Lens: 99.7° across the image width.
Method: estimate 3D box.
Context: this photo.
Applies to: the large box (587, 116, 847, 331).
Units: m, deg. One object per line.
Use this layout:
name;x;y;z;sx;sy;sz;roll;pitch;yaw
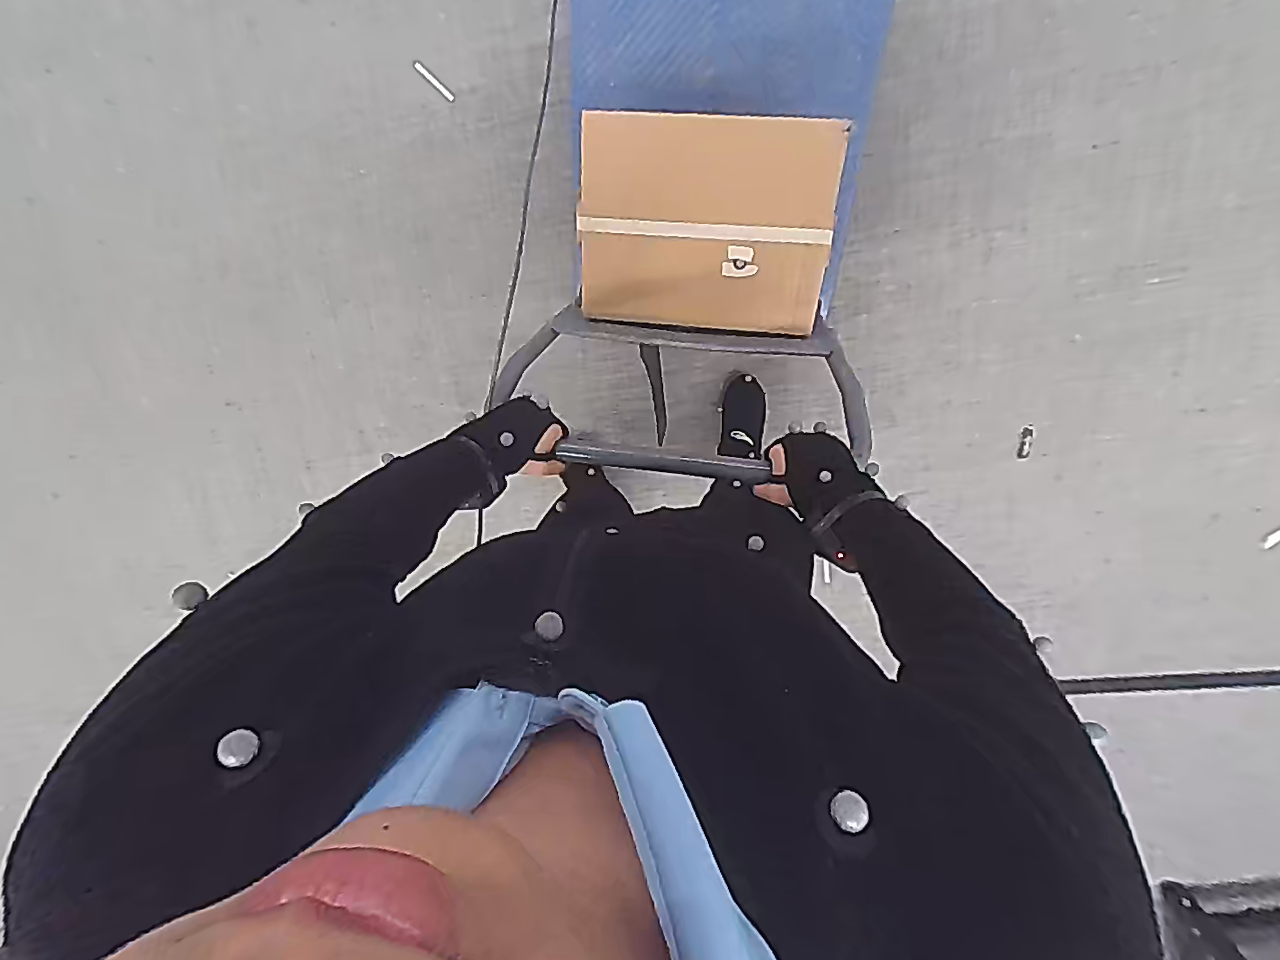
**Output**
large box;0.126;-0.479;1.024;0.408;0.320;0.320;6;118;6
